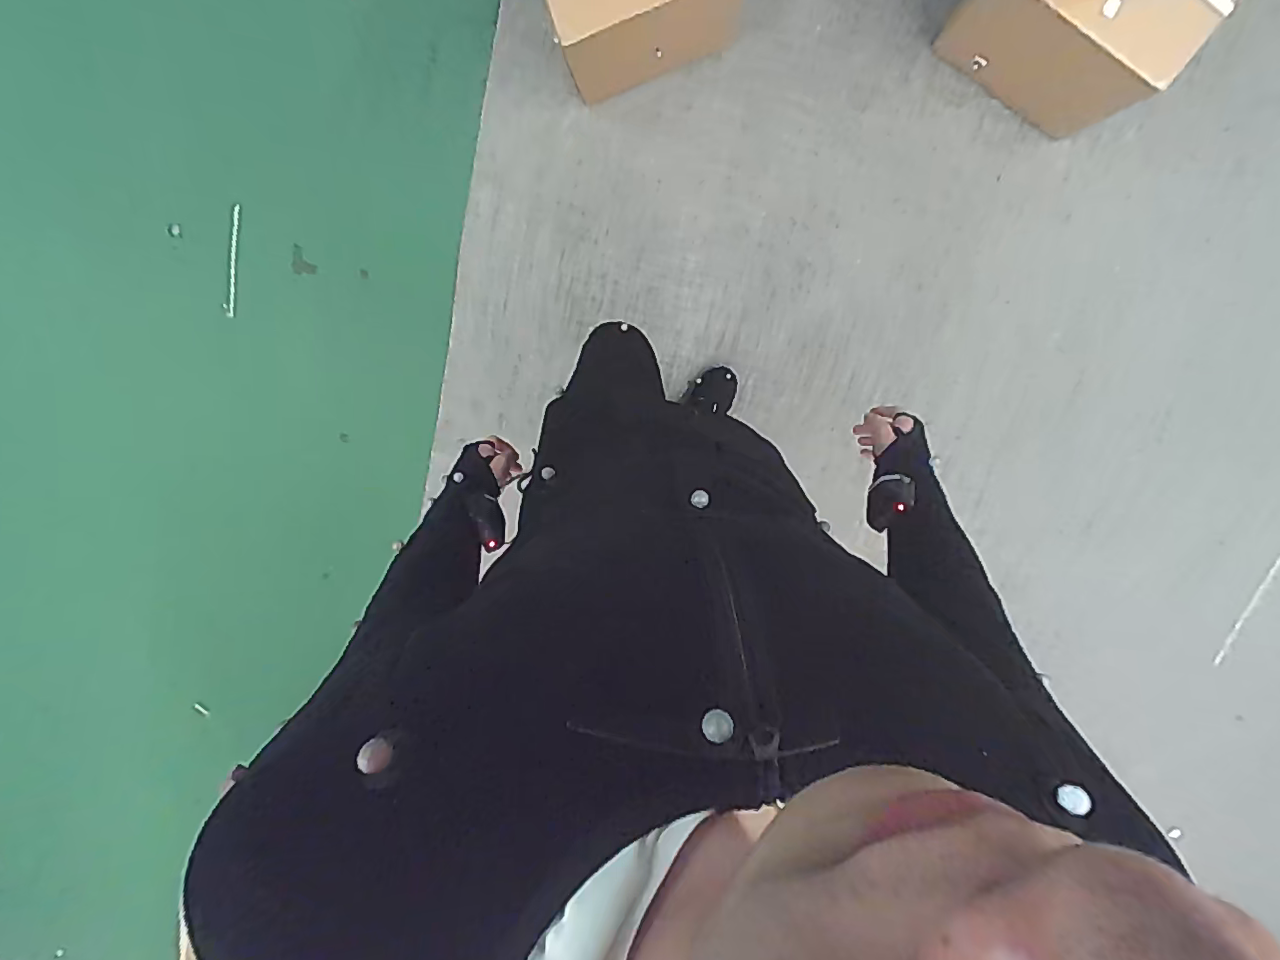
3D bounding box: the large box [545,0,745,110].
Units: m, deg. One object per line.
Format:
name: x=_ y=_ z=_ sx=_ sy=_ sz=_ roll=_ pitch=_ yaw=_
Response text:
large box: x=-0.006 y=-1.115 z=1.197 sx=0.408 sy=0.320 sz=0.320 roll=-17 pitch=102 yaw=9
